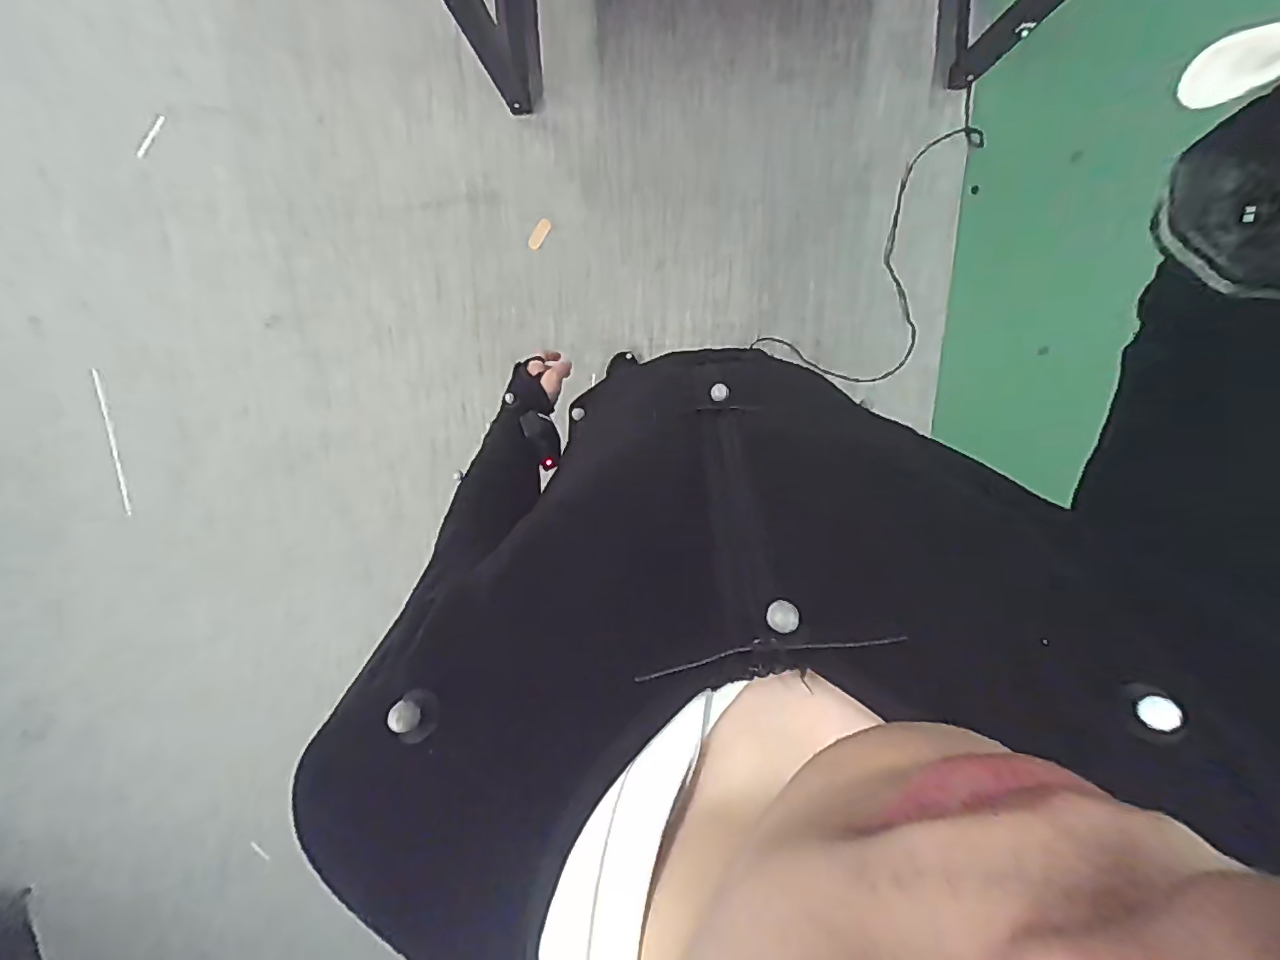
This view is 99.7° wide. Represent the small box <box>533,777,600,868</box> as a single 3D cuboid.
[{"bbox_3d":[-0.213,1.018,1.616,0.179,0.176,0.168,0,101,1],"label":"small box"}]

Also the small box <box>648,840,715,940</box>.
[{"bbox_3d":[0.122,1.239,1.646,0.179,0.176,0.168,8,103,0],"label":"small box"}]

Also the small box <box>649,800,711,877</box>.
[{"bbox_3d":[0.131,1.210,1.809,0.179,0.176,0.168,9,103,0],"label":"small box"}]

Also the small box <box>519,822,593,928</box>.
[{"bbox_3d":[-0.219,1.057,1.456,0.179,0.176,0.168,1,101,1],"label":"small box"}]
